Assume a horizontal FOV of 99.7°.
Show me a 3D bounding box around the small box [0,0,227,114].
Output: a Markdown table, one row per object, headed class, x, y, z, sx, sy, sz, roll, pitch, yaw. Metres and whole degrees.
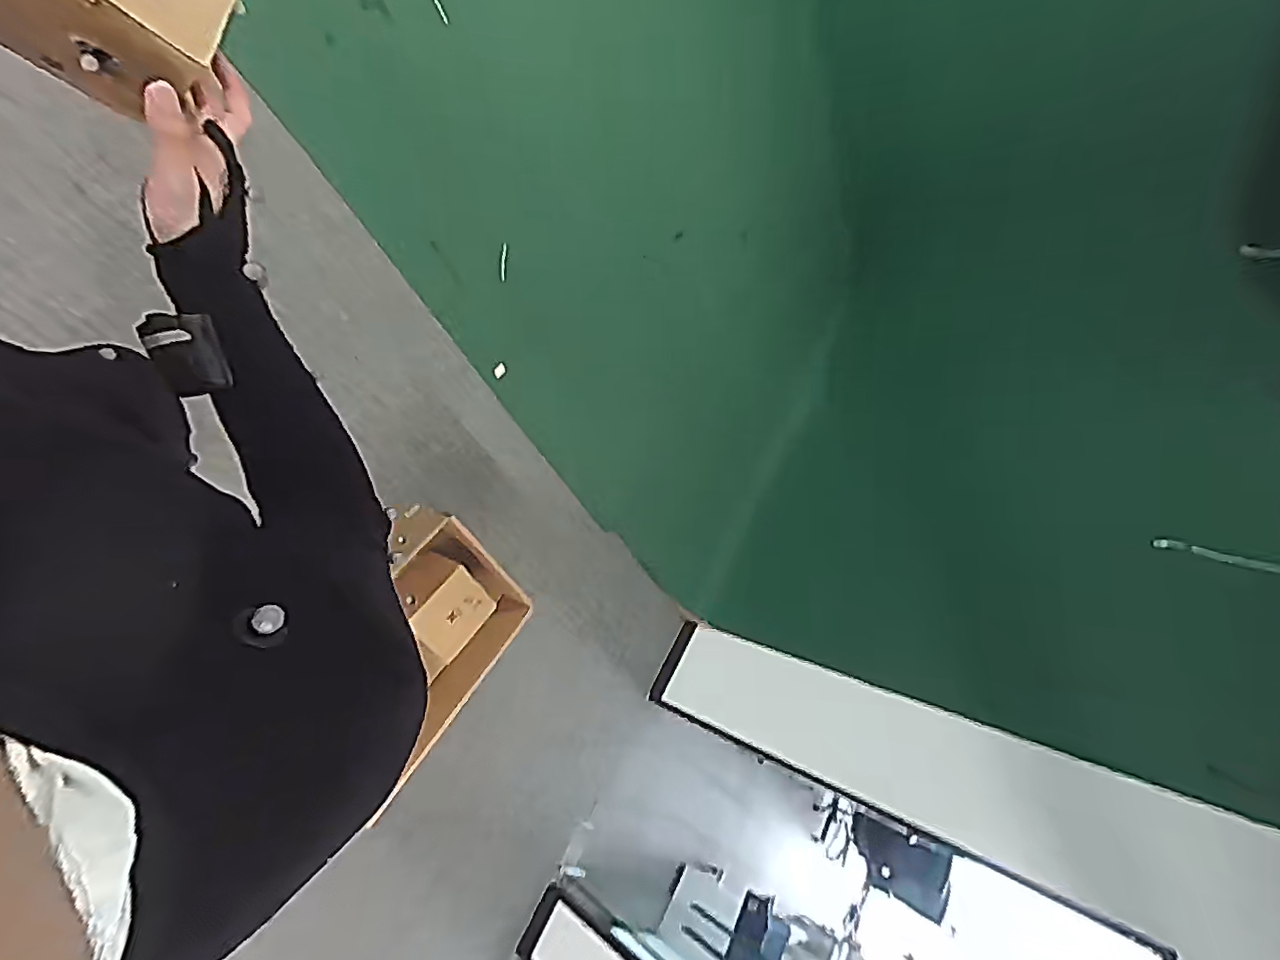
| class | x | y | z | sx | sy | sz | roll | pitch | yaw |
| --- | --- | --- | --- | --- | --- | --- | --- | --- | --- |
| small box | -0.401 | -0.403 | 0.376 | 0.168 | 0.176 | 0.179 | 22 | 80 | -55 |
